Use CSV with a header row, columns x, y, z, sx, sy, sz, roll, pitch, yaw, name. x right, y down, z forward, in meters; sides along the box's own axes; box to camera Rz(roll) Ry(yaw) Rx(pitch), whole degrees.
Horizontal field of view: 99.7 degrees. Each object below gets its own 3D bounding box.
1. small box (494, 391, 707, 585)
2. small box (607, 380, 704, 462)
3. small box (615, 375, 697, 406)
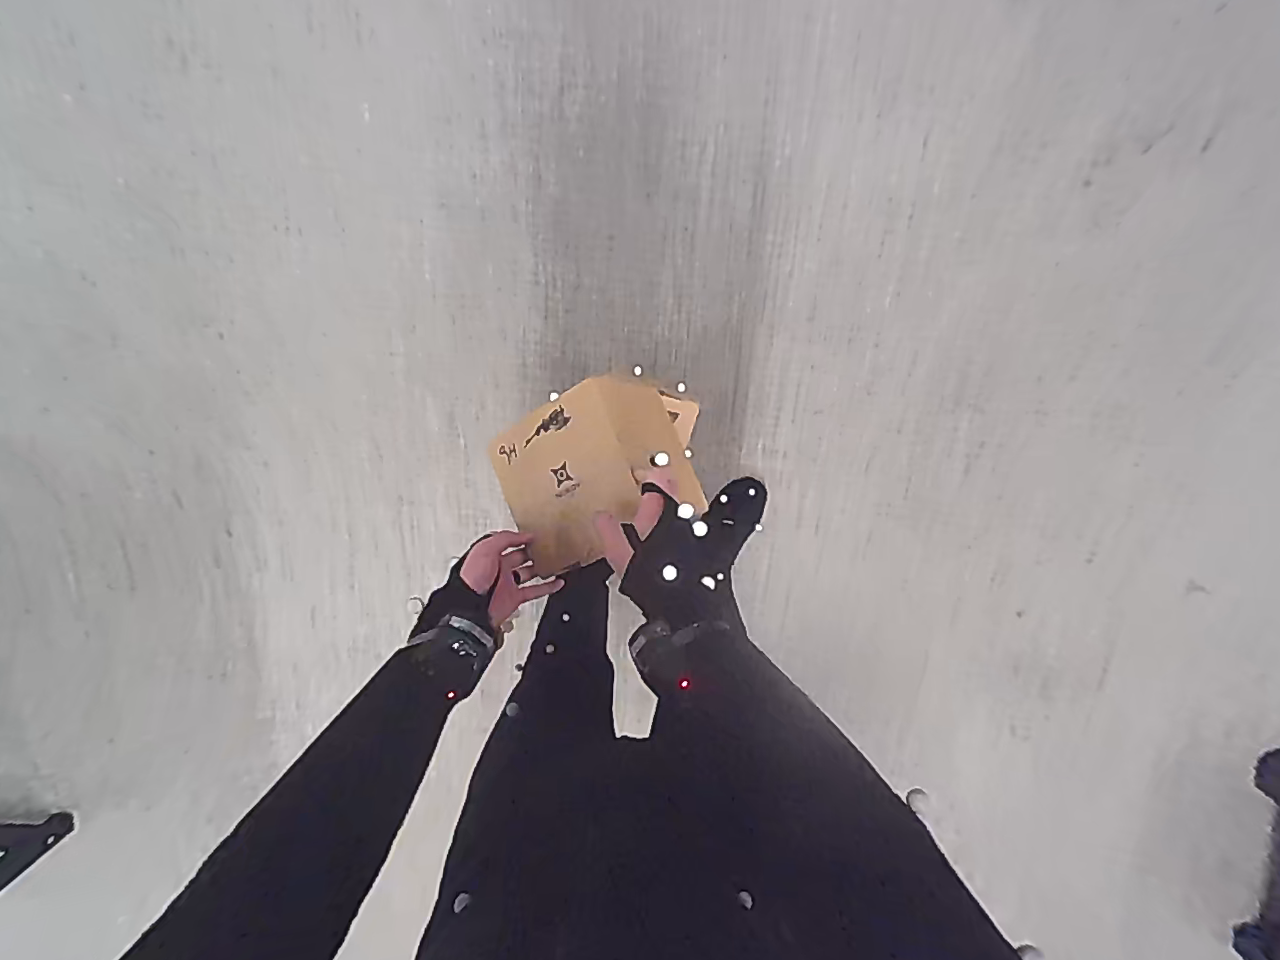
x,y,z,sx,sy,sz,roll,pitch,yaw,name
-0.039,0.004,0.665,0.168,0.176,0.179,-26,84,26,small box
0.006,-0.073,0.972,0.168,0.176,0.179,17,105,-1,small box
0.012,-0.114,1.131,0.168,0.176,0.179,16,105,-1,small box
